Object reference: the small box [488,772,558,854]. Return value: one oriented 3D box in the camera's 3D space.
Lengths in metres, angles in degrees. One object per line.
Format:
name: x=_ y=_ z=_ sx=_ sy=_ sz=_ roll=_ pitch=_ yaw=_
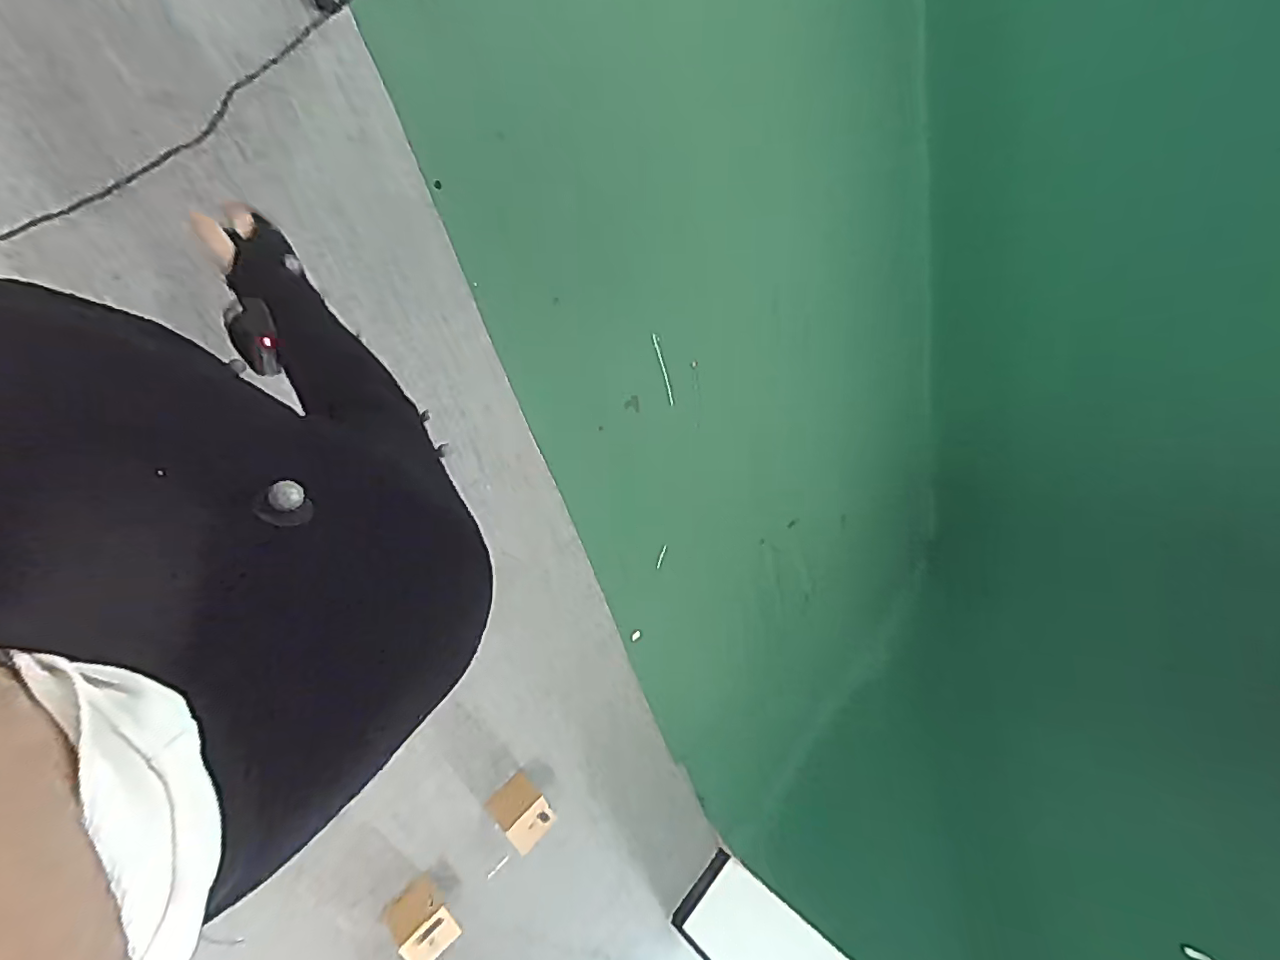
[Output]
small box: x=-0.450 y=1.268 z=2.072 sx=0.179 sy=0.176 sz=0.168 roll=-37 pitch=123 yaw=-29
